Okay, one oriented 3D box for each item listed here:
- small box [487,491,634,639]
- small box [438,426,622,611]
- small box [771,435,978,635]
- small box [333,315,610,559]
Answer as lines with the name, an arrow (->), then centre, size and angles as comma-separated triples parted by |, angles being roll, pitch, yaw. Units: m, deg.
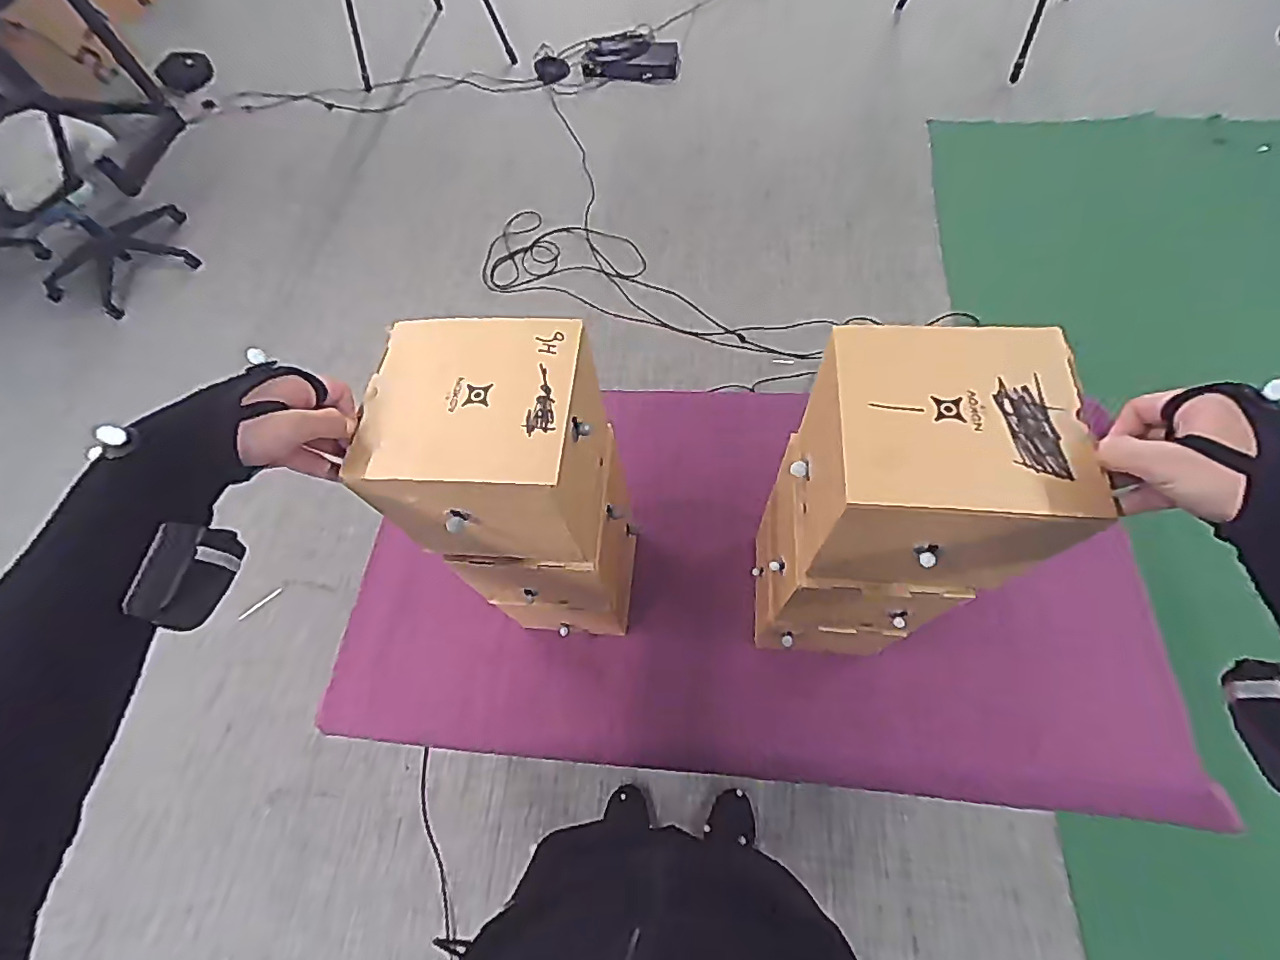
small box -> -0.102, 0.123, 0.793 | 0.168, 0.176, 0.179 | 3, 64, 7
small box -> -0.114, 0.048, 0.649 | 0.168, 0.176, 0.179 | 2, 64, 5
small box -> 0.243, 0.069, 0.608 | 0.168, 0.176, 0.179 | 3, 63, 6
small box -> -0.133, -0.032, 0.504 | 0.179, 0.176, 0.168 | 2, 62, 7
